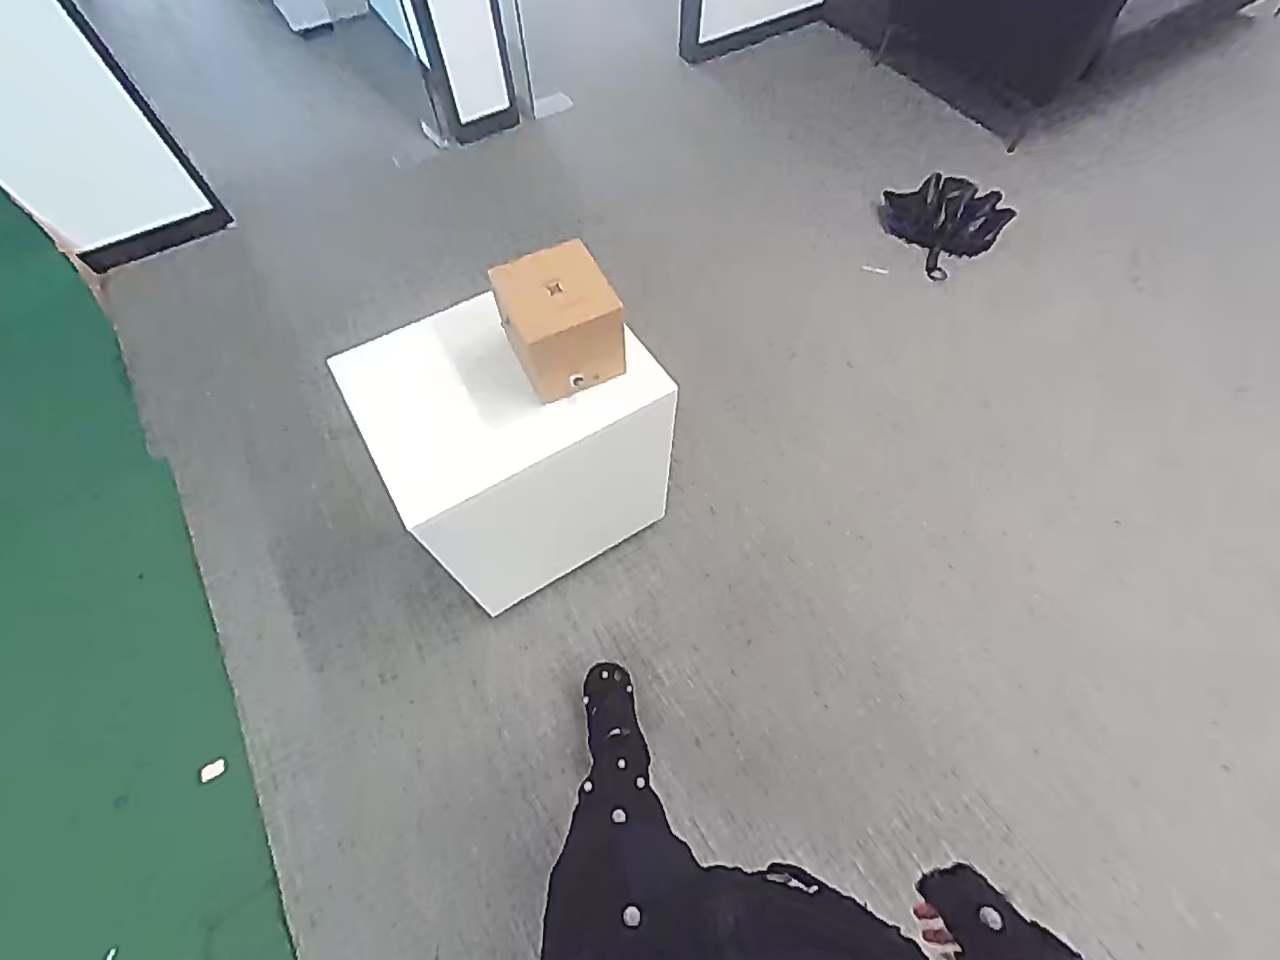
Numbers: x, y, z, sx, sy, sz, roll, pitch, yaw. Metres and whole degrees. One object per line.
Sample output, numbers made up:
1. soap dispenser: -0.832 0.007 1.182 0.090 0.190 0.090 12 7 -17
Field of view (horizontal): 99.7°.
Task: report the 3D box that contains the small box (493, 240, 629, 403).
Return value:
1. small box: -0.128 -0.264 0.920 0.168 0.176 0.179 -25 66 -12
